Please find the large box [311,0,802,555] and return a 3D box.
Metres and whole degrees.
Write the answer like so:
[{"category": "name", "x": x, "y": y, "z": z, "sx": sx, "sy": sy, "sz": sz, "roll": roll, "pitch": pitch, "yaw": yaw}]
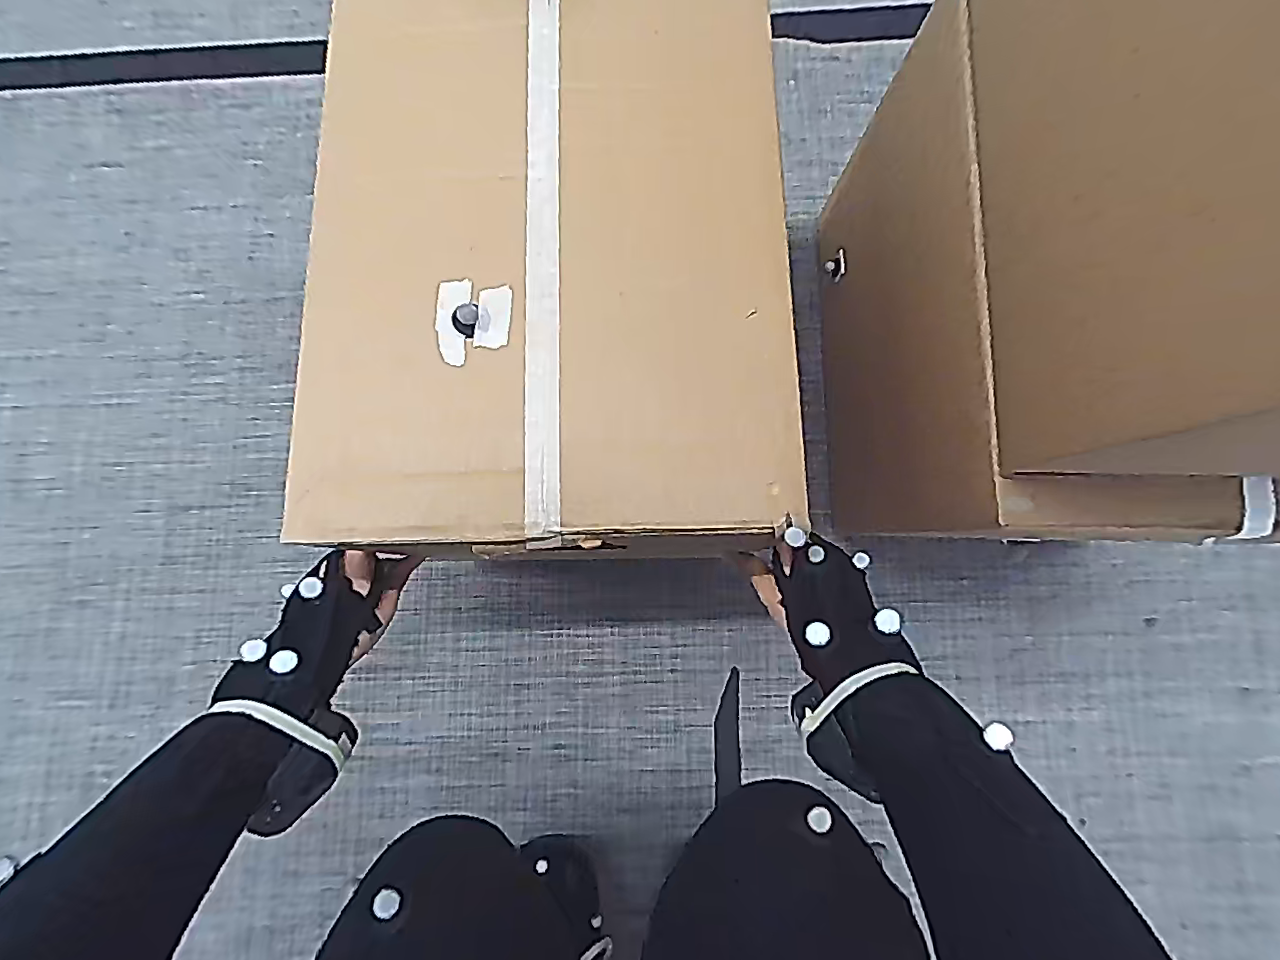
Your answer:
[{"category": "large box", "x": -0.061, "y": -0.141, "z": 0.512, "sx": 0.320, "sy": 0.320, "sz": 0.408, "roll": -3, "pitch": 80, "yaw": 1}]
